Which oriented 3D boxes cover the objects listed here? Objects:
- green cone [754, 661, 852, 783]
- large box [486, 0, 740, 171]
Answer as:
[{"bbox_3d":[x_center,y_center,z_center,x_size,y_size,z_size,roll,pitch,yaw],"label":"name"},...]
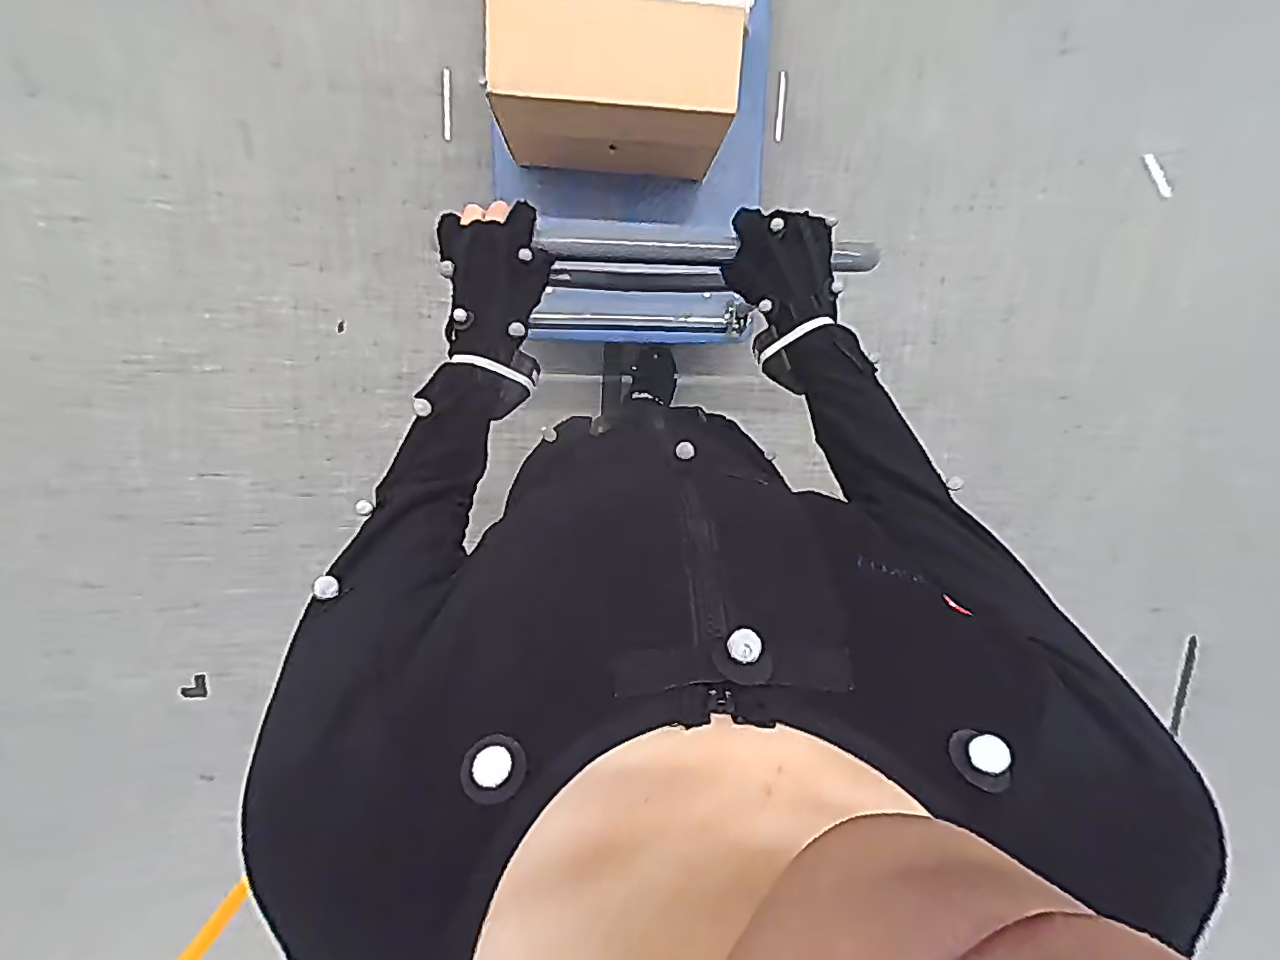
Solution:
[{"bbox_3d":[0.460,0.667,1.446,0.202,0.368,0.200,5,100,-6],"label":"green cone"},{"bbox_3d":[-0.046,-0.788,0.985,0.408,0.320,0.320,2,101,-4],"label":"large box"}]
